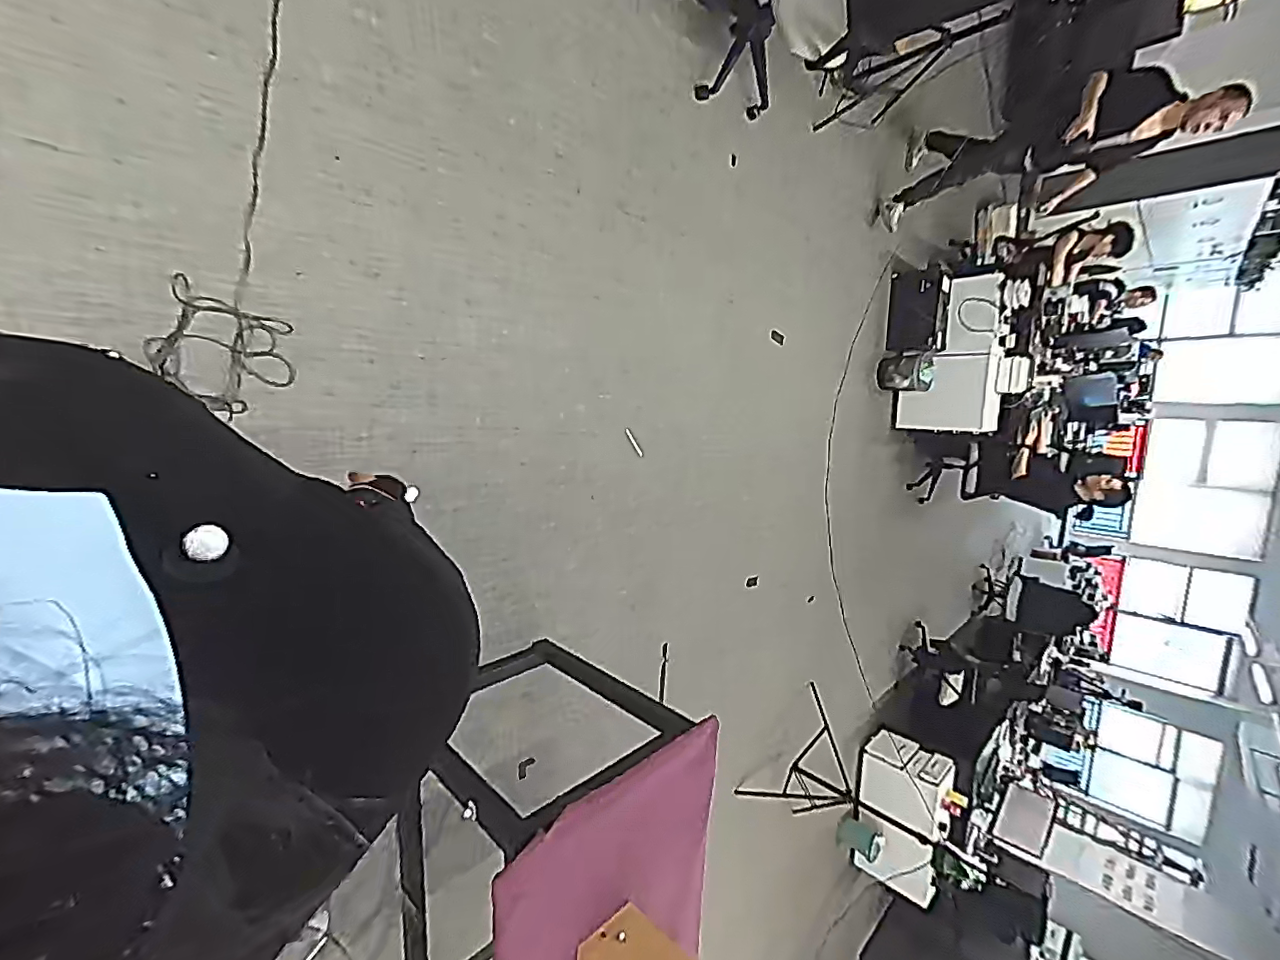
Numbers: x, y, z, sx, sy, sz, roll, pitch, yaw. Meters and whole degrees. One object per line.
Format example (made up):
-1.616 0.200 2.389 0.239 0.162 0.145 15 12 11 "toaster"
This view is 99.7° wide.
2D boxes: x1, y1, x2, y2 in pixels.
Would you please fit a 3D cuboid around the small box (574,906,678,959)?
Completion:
-0.037 1.118 1.203 0.168 0.176 0.179 -5 101 -46 "small box"
